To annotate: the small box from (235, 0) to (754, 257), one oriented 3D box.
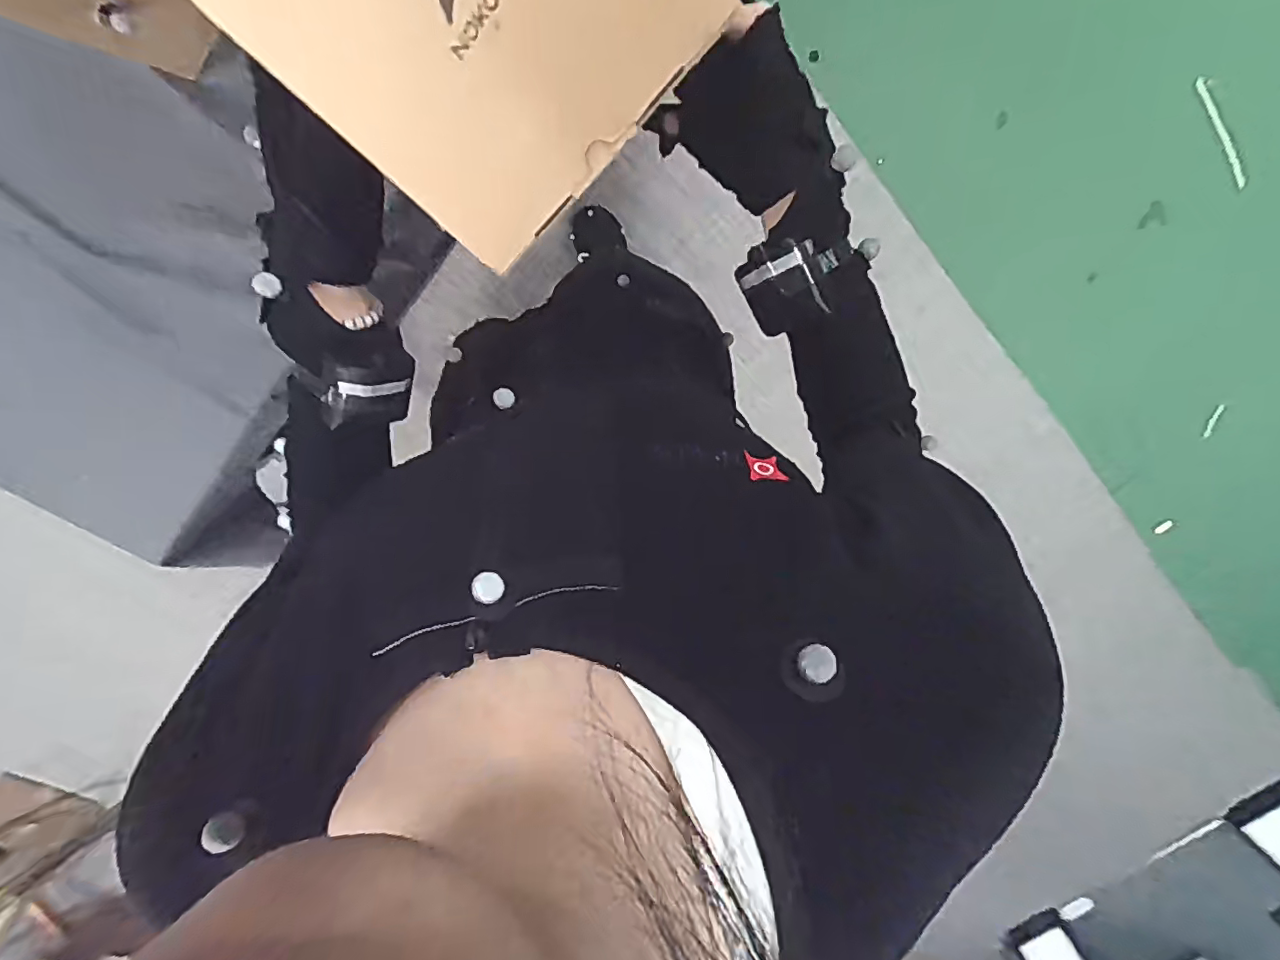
[{"bbox_3d":[-0.068,-0.261,0.281,0.168,0.176,0.179,-35,123,28],"label":"small box"}]
